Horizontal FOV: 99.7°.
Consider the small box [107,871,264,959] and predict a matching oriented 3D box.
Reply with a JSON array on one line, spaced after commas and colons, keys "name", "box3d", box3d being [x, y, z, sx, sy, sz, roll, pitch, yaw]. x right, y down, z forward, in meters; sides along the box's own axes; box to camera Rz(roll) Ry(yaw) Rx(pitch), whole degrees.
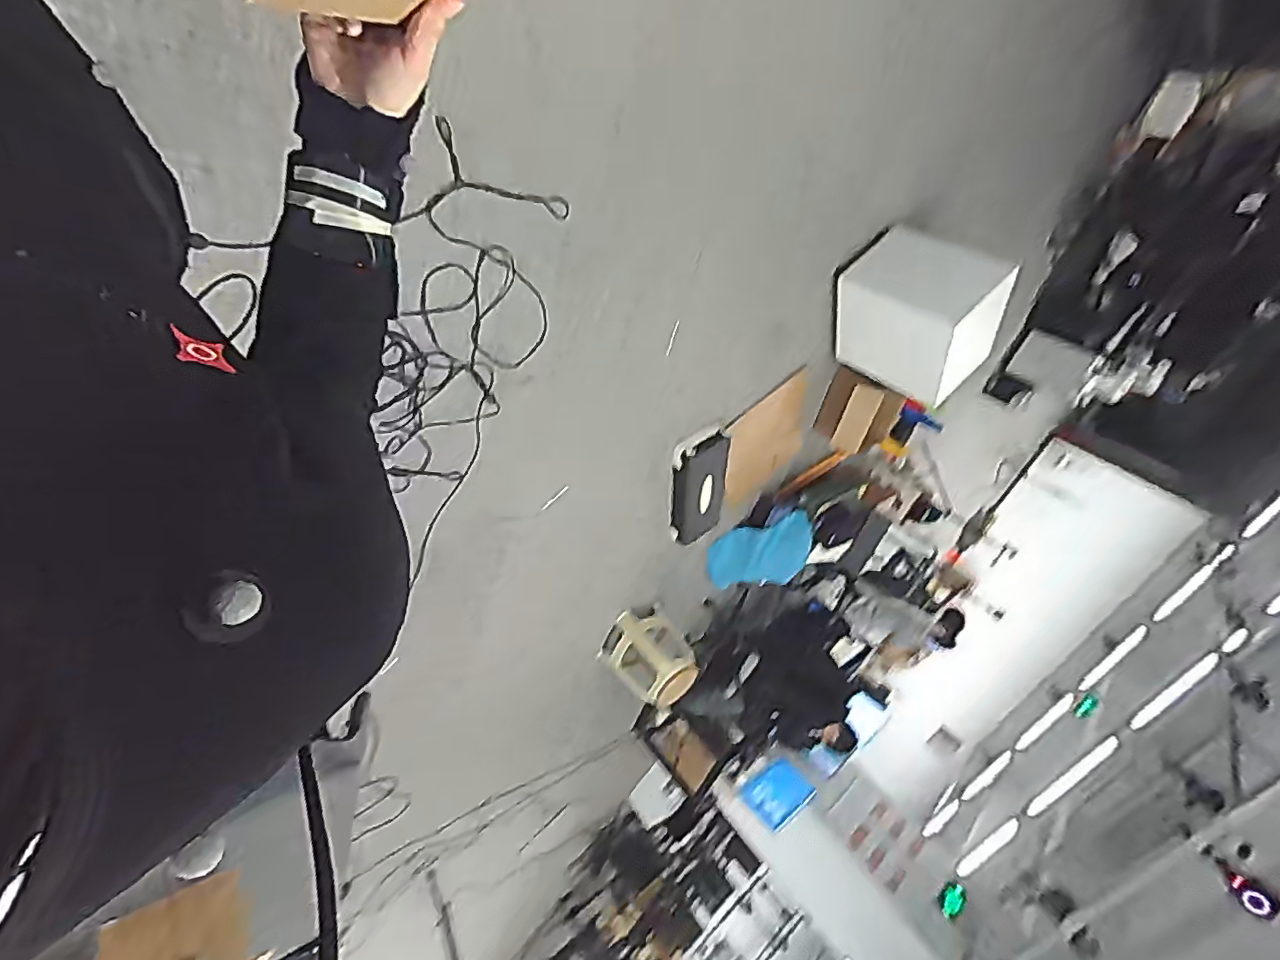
[{"name": "small box", "box3d": [-0.746, 0.801, 0.882, 0.179, 0.176, 0.168, -3, 125, -48]}]
